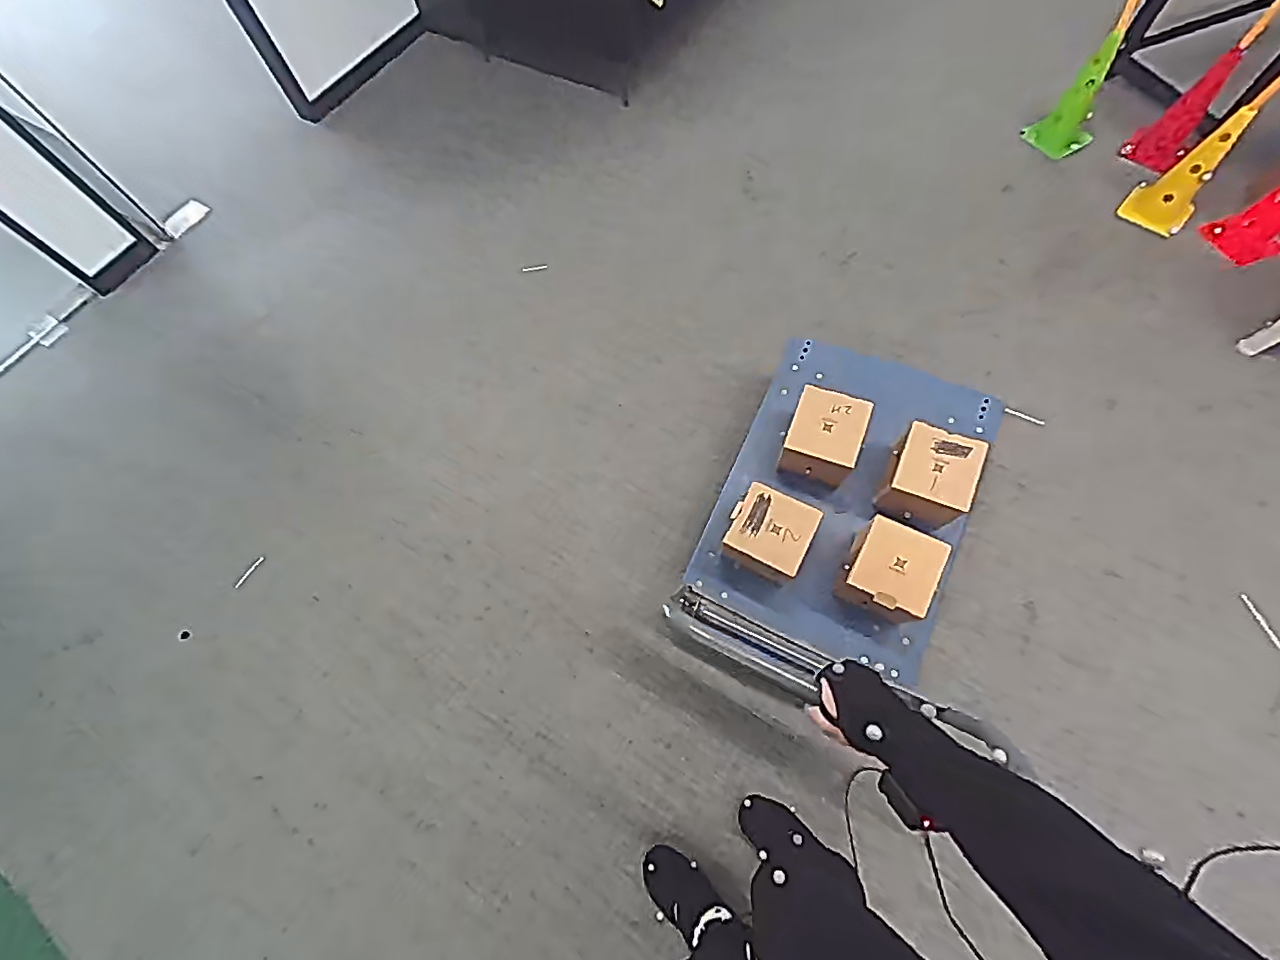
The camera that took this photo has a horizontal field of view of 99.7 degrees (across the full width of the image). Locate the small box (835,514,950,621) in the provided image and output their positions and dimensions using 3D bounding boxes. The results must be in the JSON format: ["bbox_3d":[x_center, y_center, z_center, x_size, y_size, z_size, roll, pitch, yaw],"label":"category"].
[{"bbox_3d":[0.564,0.204,1.233,0.168,0.176,0.179,26,78,15],"label":"small box"}]

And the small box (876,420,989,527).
[{"bbox_3d":[0.682,-0.010,1.282,0.168,0.176,0.179,22,78,15],"label":"small box"}]

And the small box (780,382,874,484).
[{"bbox_3d":[0.455,-0.109,1.345,0.168,0.176,0.179,20,76,13],"label":"small box"}]
